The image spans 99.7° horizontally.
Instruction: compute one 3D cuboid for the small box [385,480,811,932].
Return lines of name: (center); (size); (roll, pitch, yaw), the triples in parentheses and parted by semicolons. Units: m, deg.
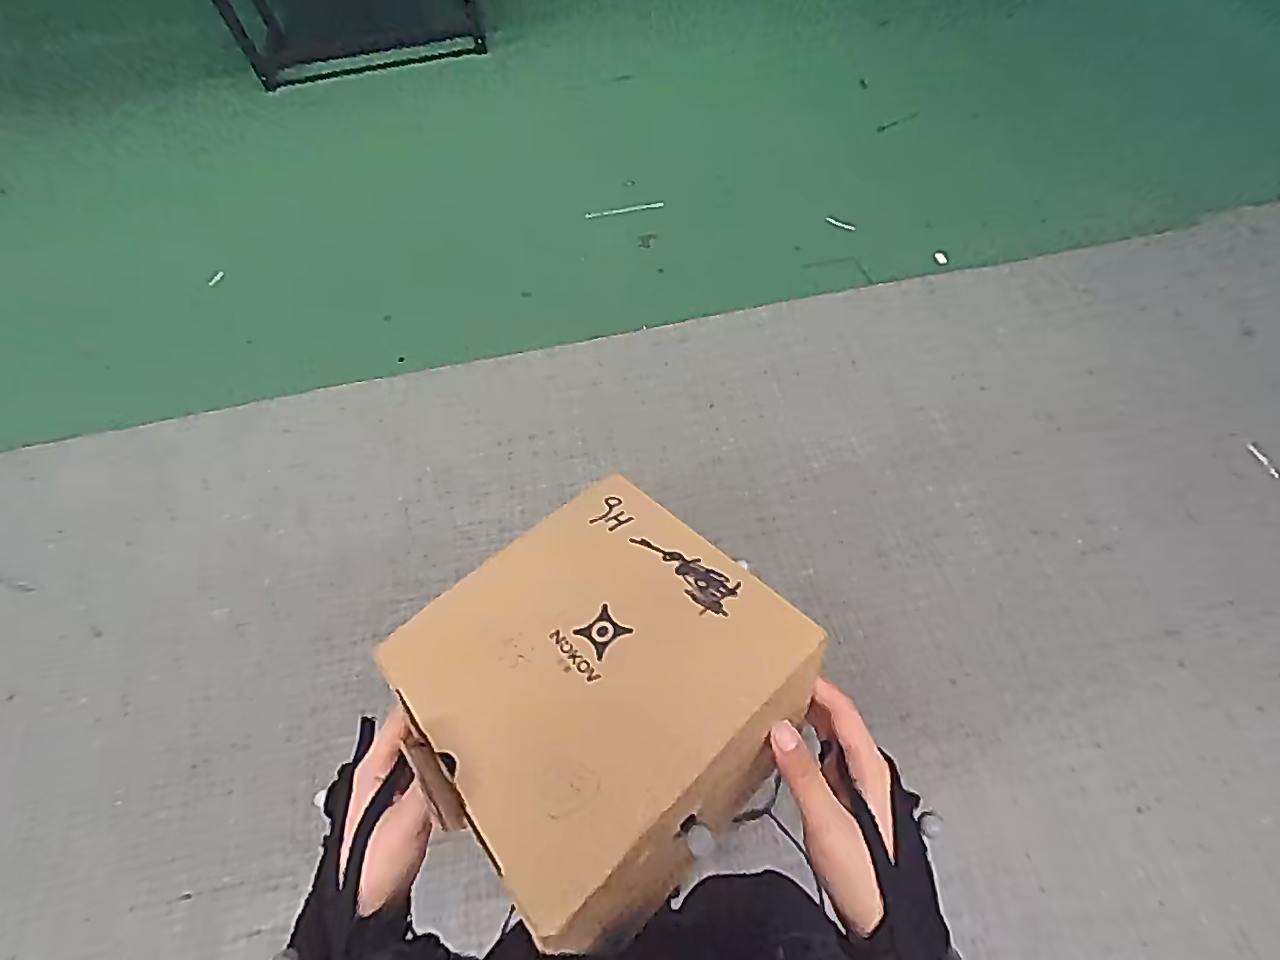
small box: (-0.015, 0.140, 0.343); (0.179, 0.176, 0.168); (-38, 53, -22)
